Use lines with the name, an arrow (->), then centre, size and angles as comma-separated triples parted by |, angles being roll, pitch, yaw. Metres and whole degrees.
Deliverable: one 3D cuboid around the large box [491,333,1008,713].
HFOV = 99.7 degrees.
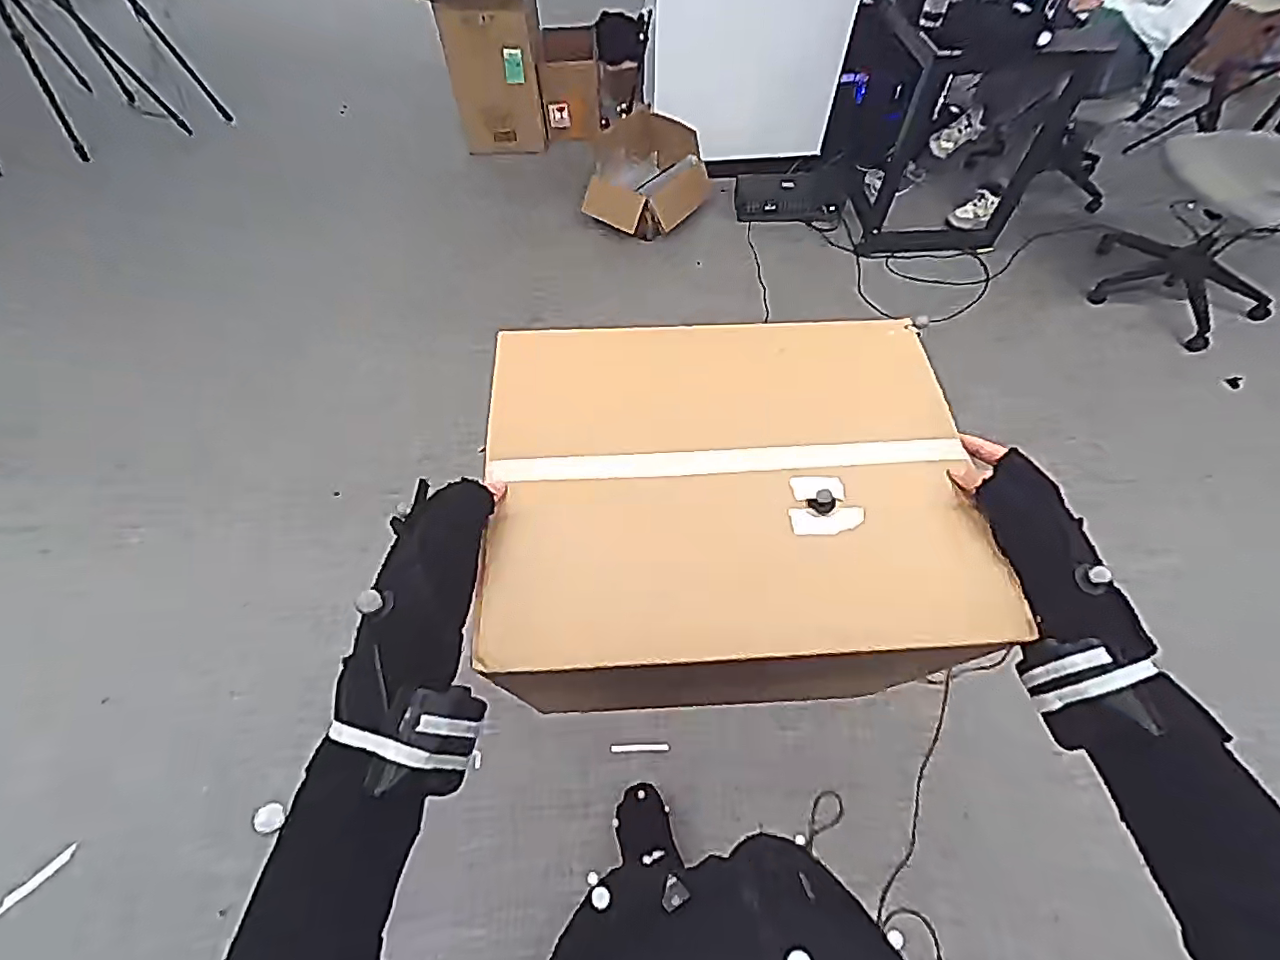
large box -> 0.072, 0.064, 0.604 | 0.408, 0.320, 0.320 | -3, 62, -3
